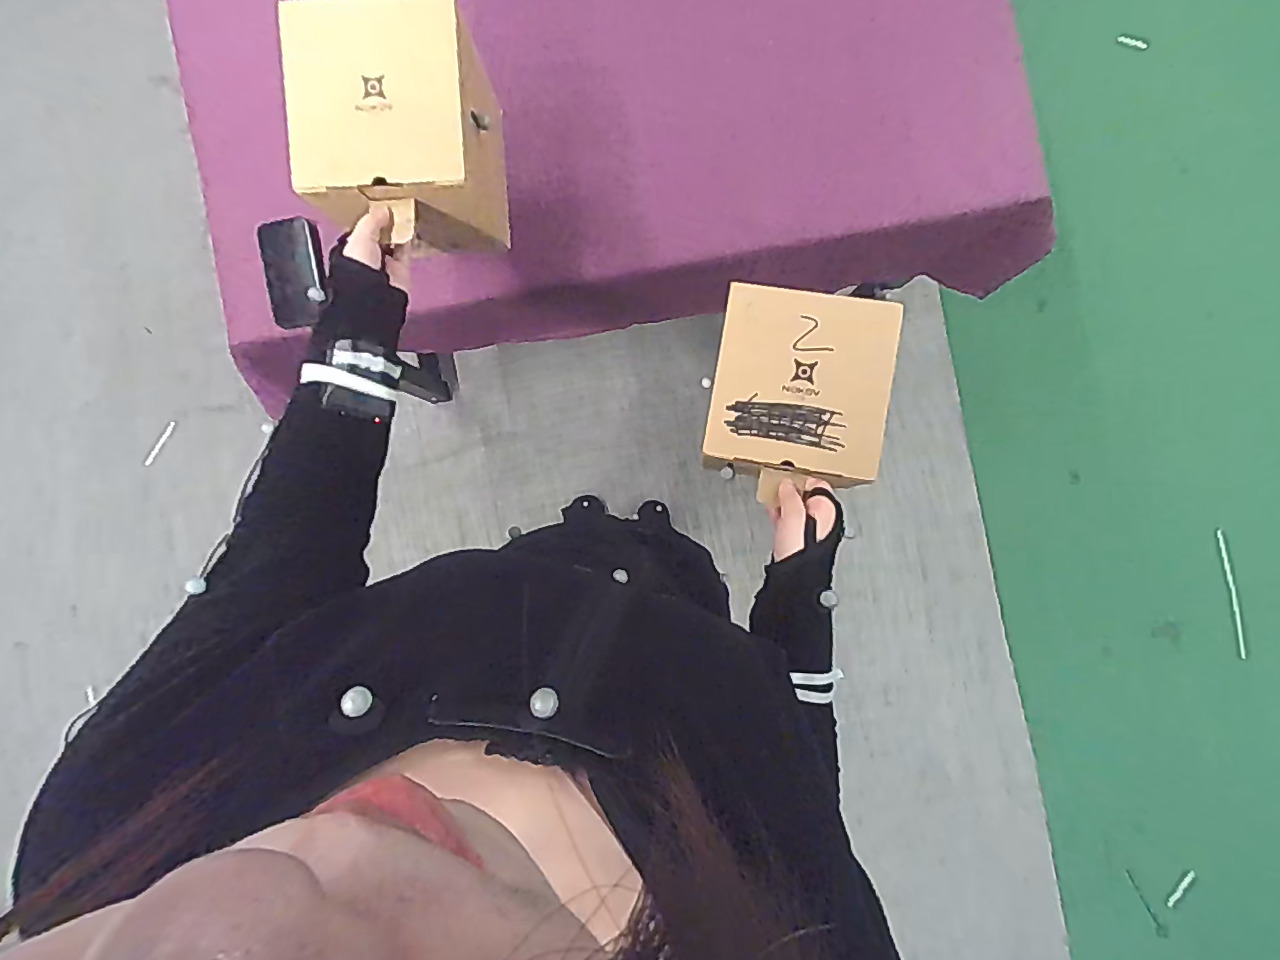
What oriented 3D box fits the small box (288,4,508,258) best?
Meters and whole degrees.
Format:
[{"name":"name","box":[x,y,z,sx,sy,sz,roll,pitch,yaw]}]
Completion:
[{"name":"small box","box":[-0.247,-0.362,0.590,0.168,0.176,0.179,-3,93,0]}]
